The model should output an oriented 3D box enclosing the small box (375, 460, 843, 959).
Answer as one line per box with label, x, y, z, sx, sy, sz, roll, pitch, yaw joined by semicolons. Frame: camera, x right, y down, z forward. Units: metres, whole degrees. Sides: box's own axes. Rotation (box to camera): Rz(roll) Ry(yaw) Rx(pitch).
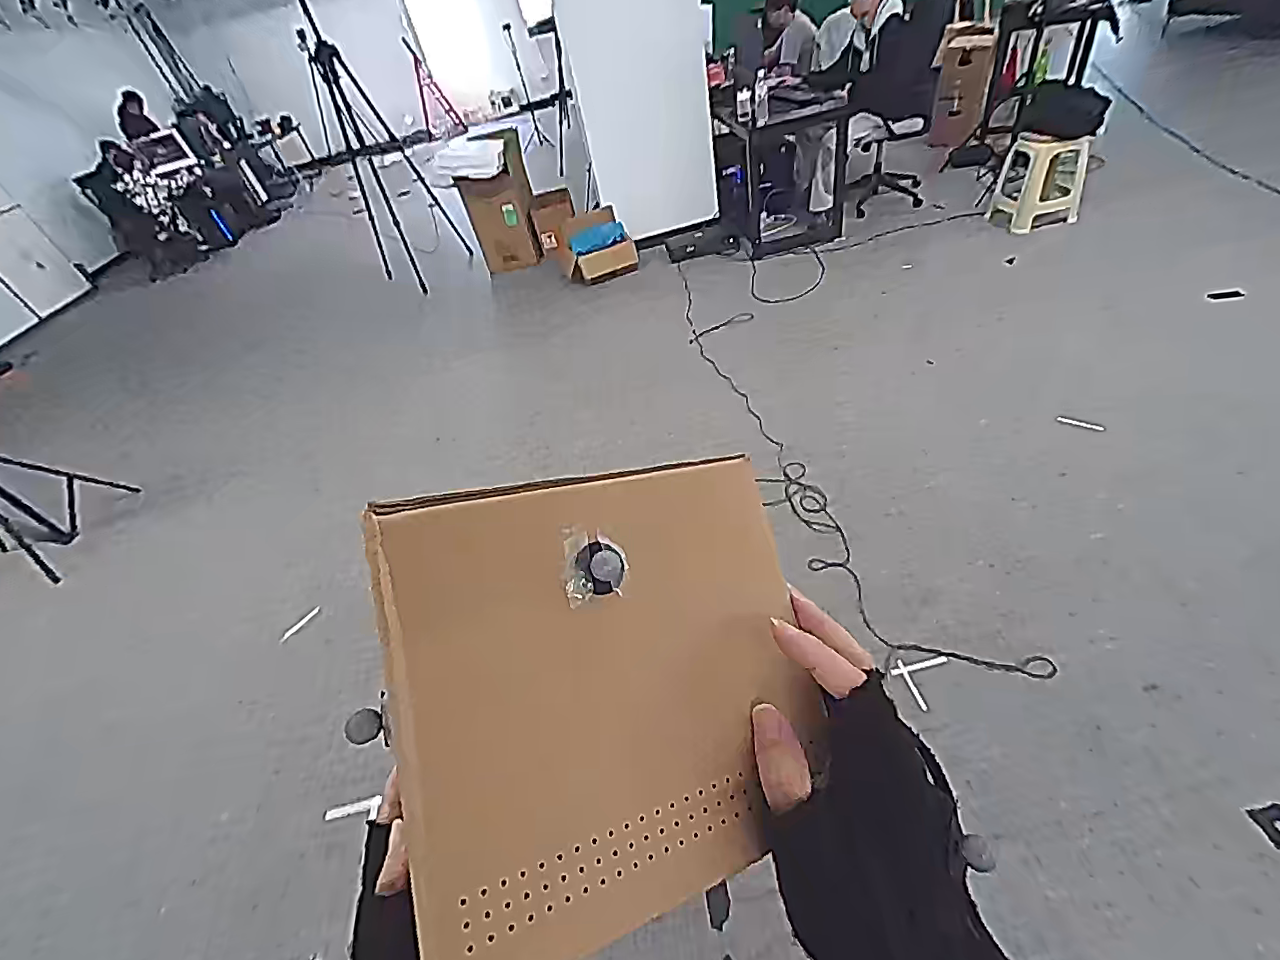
small box;-0.028;0.104;0.286;0.179;0.168;0.176;-8;76;-26
